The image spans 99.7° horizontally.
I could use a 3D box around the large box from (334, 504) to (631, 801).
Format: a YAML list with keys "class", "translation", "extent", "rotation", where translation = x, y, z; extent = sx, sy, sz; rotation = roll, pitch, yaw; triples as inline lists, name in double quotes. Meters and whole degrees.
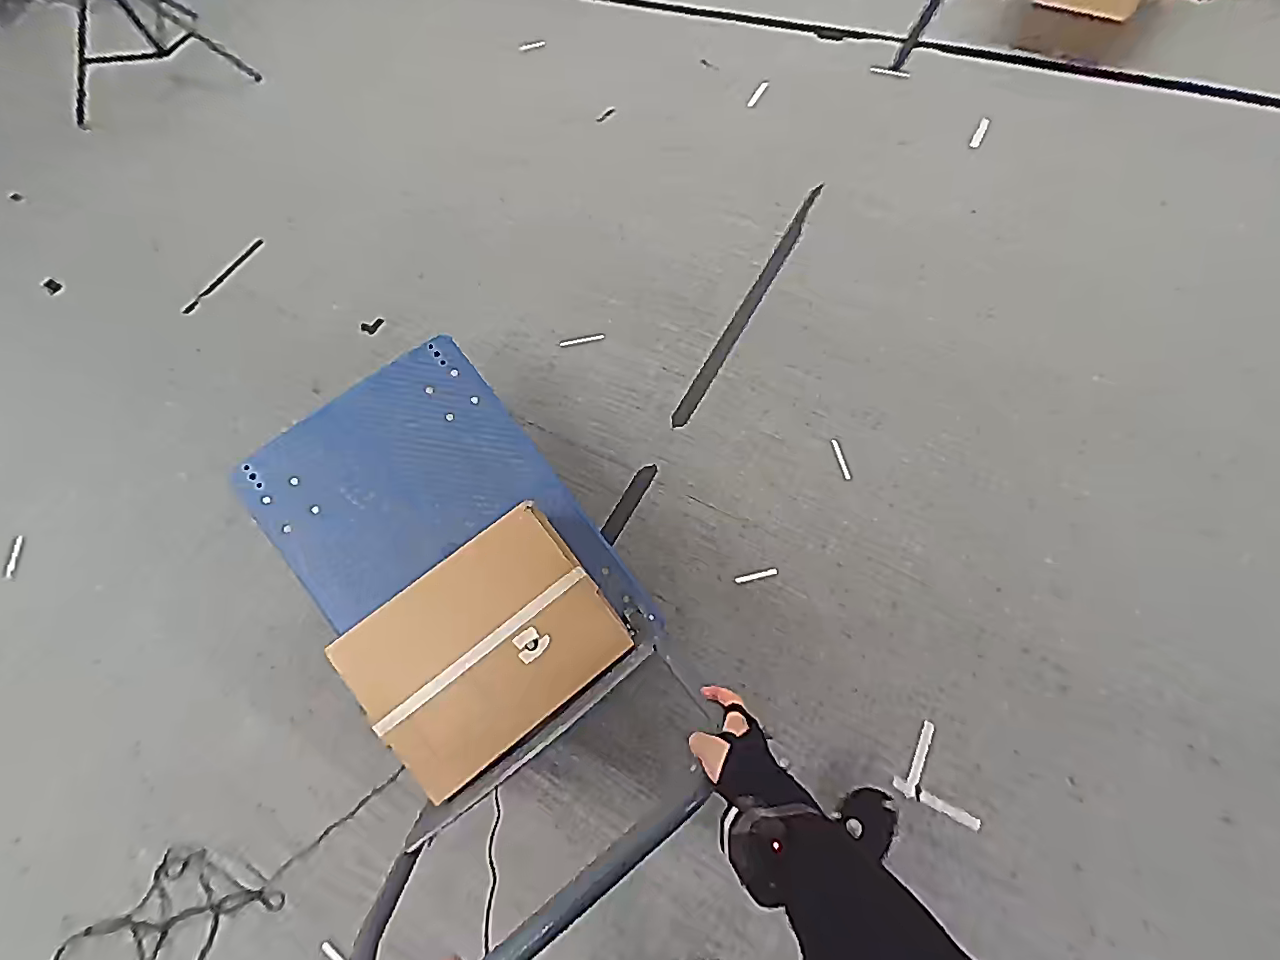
- class: "large box"
  translation: [-0.275, 0.304, 1.055]
  extent: [0.408, 0.320, 0.320]
  rotation: [-39, 88, -11]
